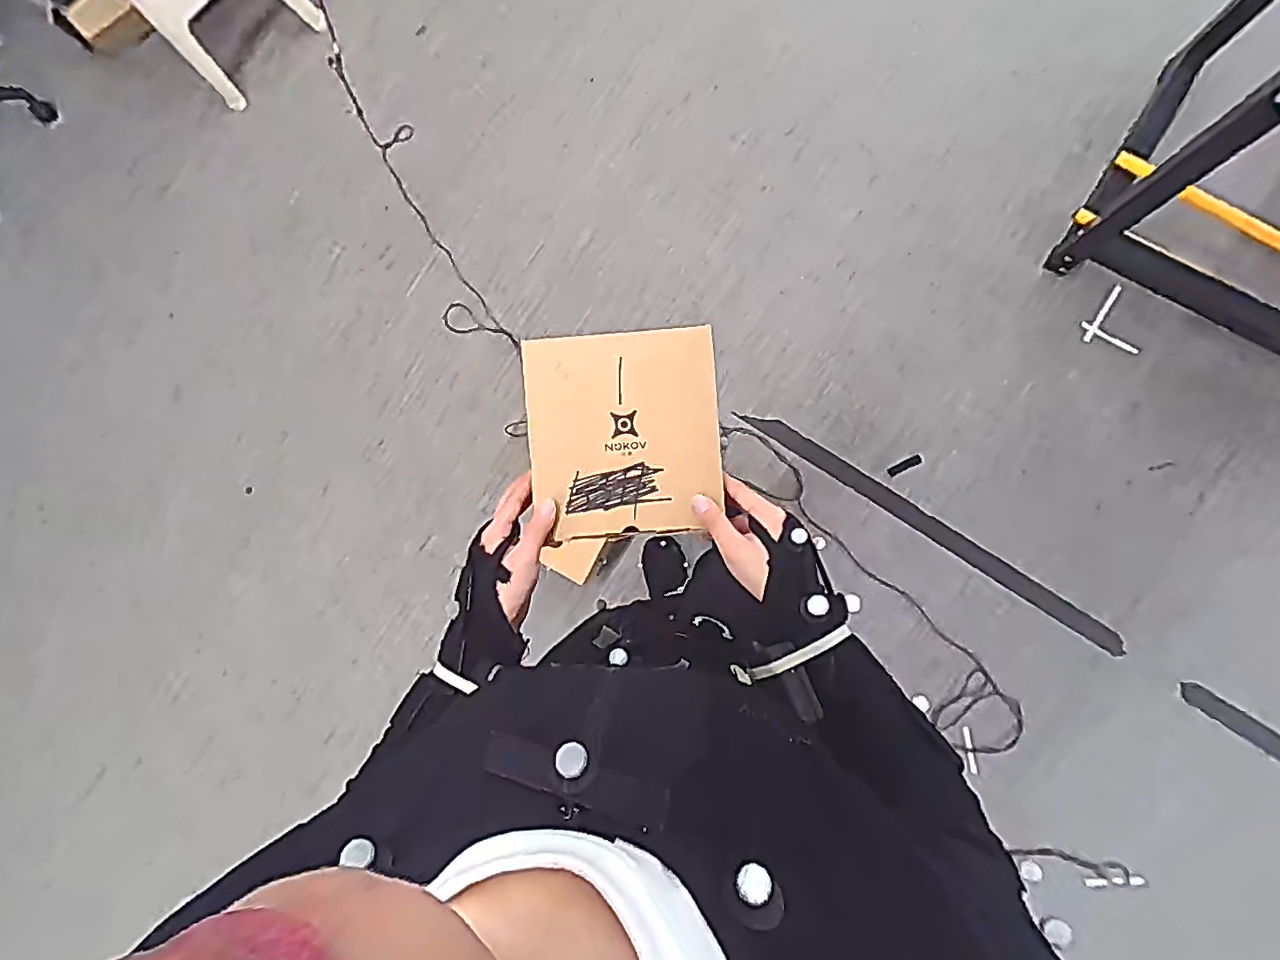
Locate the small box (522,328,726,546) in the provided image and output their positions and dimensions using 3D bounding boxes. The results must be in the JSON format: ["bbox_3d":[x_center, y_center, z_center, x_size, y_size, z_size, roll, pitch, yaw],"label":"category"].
[{"bbox_3d":[-0.011,-0.037,0.530,0.168,0.176,0.179,-4,90,1],"label":"small box"}]
